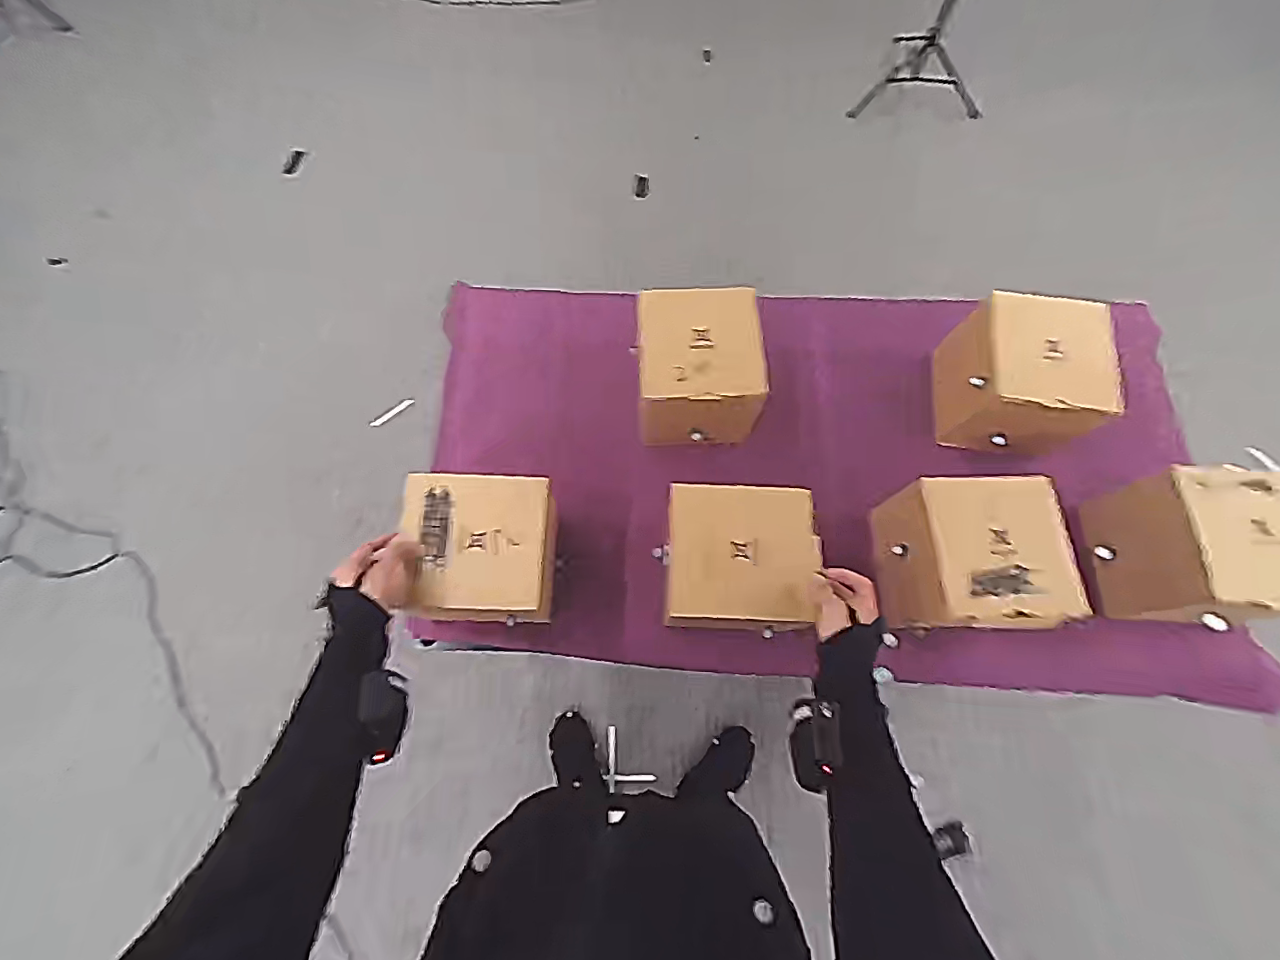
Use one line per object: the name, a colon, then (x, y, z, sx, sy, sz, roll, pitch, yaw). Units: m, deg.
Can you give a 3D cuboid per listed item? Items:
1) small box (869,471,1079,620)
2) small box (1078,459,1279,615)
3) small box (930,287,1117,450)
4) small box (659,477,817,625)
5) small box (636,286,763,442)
small box: (0.432, 0.096, 0.734, 0.168, 0.176, 0.179, 0, 70, -1)
small box: (0.755, 0.086, 0.739, 0.168, 0.176, 0.179, 3, 70, 1)
small box: (0.567, -0.163, 0.828, 0.168, 0.176, 0.179, 7, 73, 2)
small box: (0.121, 0.104, 0.729, 0.179, 0.176, 0.168, 3, 70, 0)
small box: (0.080, -0.171, 0.825, 0.168, 0.176, 0.179, -2, 72, -1)
